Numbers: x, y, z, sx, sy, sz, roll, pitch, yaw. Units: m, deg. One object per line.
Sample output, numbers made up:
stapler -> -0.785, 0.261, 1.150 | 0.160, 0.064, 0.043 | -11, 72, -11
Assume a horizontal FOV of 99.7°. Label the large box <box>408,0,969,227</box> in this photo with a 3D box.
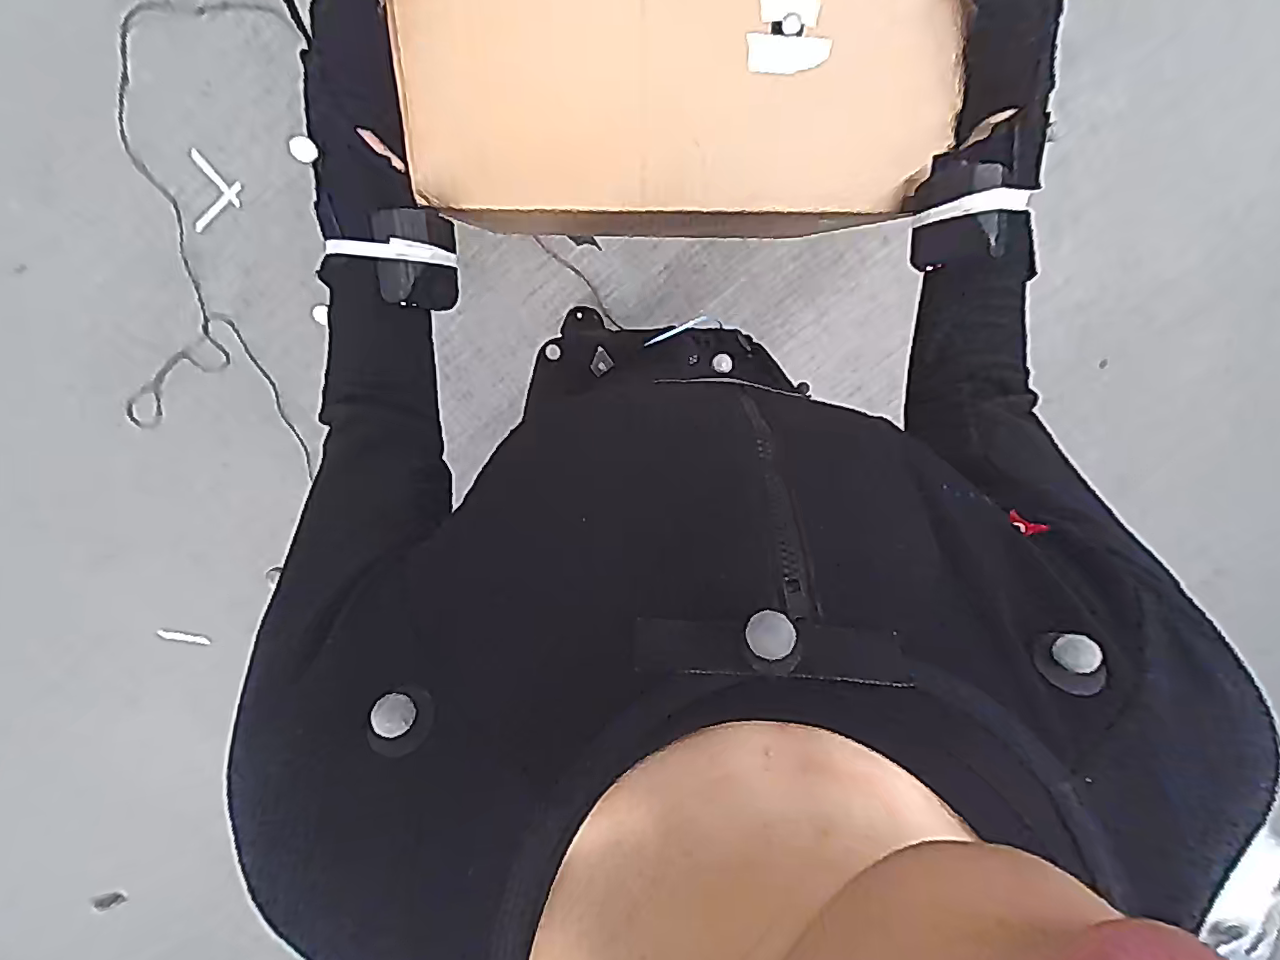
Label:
large box -> 0.026, -0.416, 0.503 | 0.408, 0.320, 0.320 | -1, 112, -5
